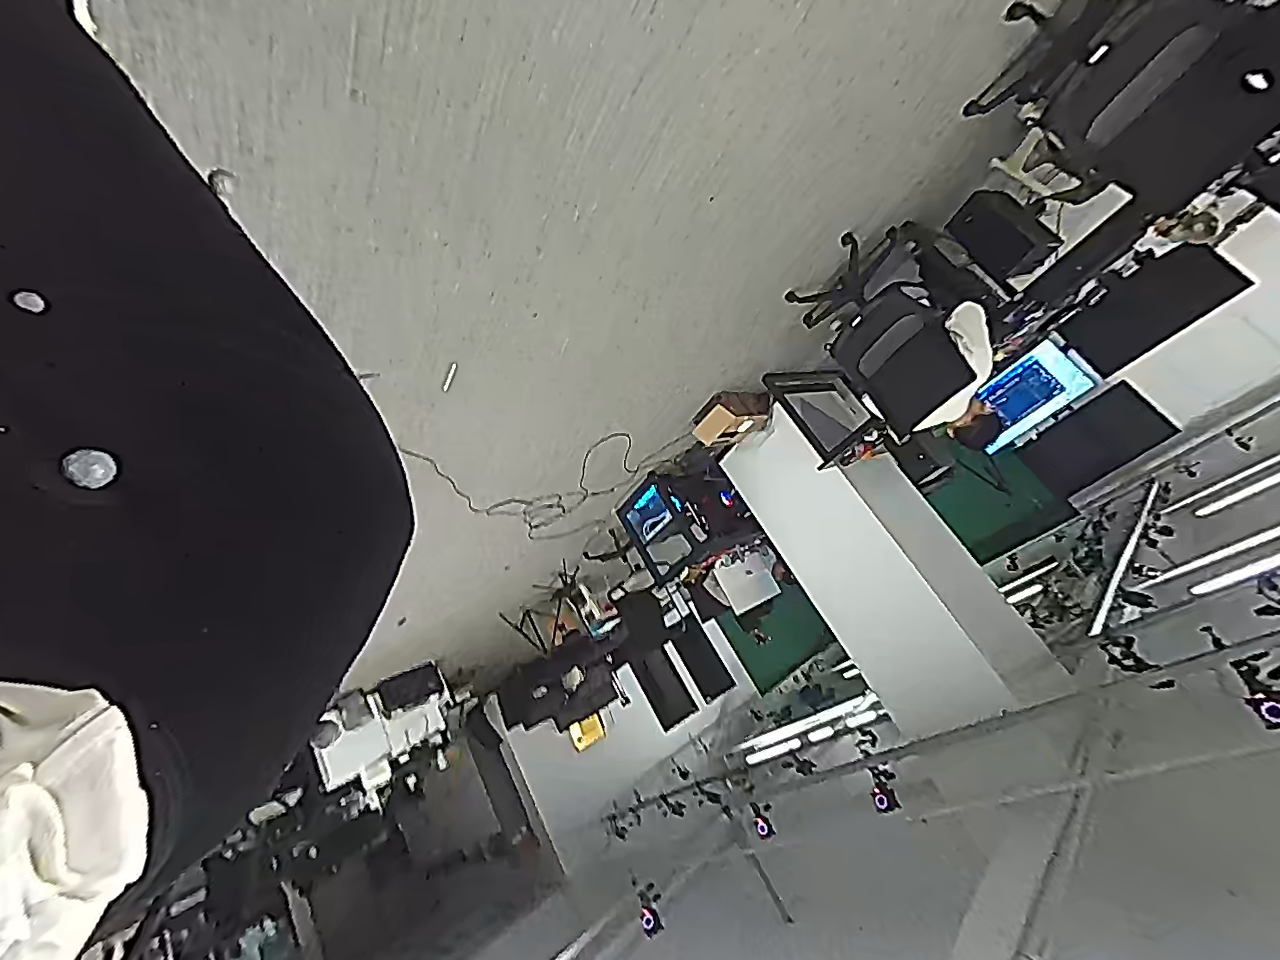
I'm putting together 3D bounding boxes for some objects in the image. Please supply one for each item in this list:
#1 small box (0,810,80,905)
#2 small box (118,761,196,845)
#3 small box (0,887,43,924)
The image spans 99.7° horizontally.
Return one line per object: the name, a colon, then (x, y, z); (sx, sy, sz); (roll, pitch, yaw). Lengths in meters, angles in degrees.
small box: (-1.770, 1.087, 1.561); (0.179, 0.176, 0.168); (-13, 154, -41)
small box: (-1.566, 1.044, 1.757); (0.168, 0.176, 0.179); (-13, 153, -43)
small box: (-1.979, 1.255, 1.649); (0.179, 0.176, 0.168); (-15, 153, -41)
